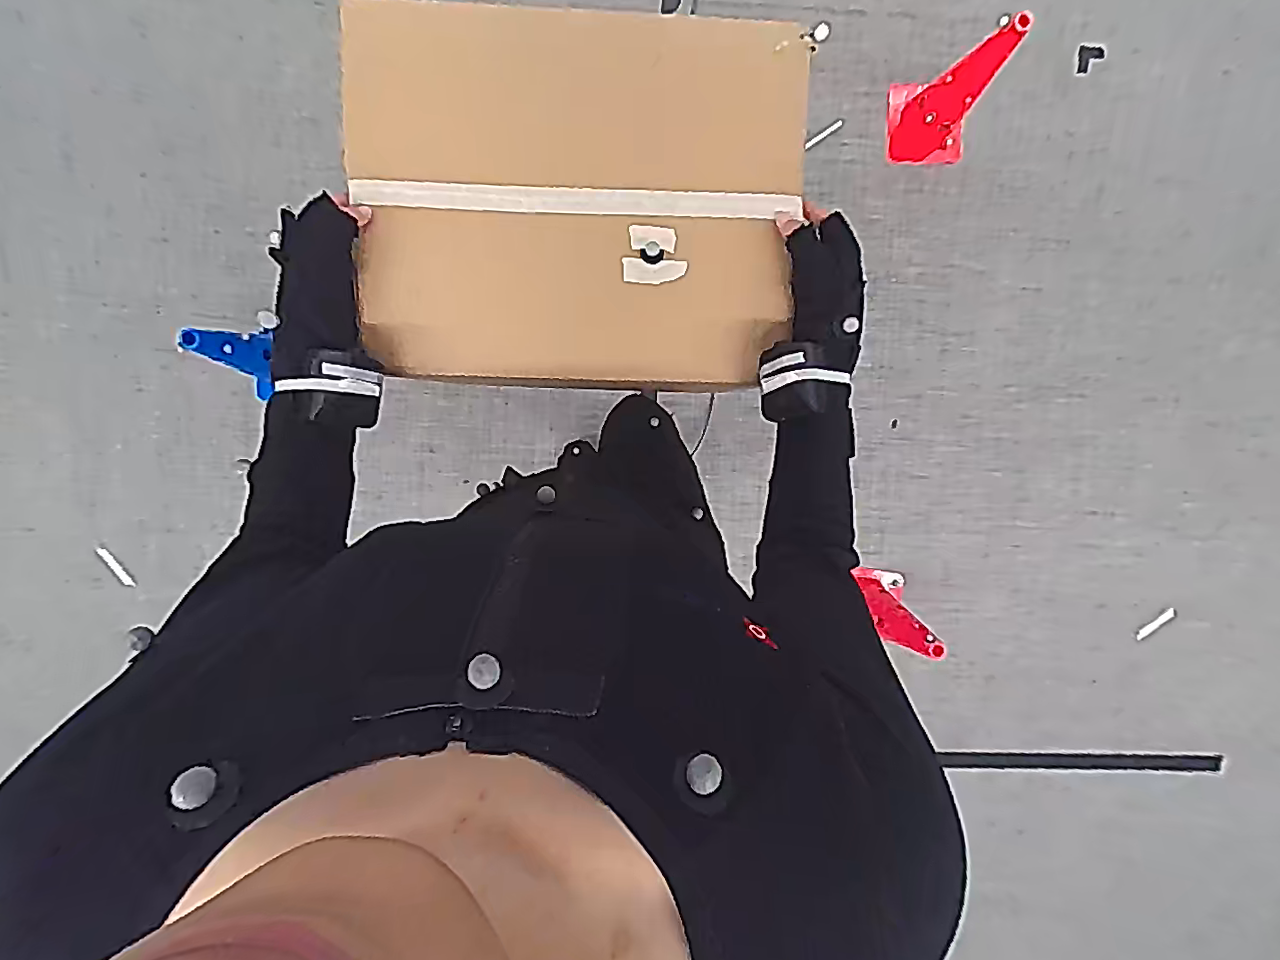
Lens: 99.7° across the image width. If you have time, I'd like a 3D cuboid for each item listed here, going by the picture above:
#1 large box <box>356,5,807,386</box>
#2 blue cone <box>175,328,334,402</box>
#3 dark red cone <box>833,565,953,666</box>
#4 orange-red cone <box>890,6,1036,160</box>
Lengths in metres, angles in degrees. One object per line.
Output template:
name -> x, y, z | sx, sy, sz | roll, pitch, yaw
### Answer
large box -> -0.058, -0.276, 0.641 | 0.408, 0.320, 0.320 | 1, 98, -3
blue cone -> -0.903, -0.291, 1.264 | 0.192, 0.380, 0.193 | 6, 94, -1
dark red cone -> 0.638, 0.352, 1.321 | 0.201, 0.394, 0.202 | 8, 94, -1
orange-red cone -> 0.764, -0.940, 1.254 | 0.198, 0.360, 0.199 | 0, 93, -3
